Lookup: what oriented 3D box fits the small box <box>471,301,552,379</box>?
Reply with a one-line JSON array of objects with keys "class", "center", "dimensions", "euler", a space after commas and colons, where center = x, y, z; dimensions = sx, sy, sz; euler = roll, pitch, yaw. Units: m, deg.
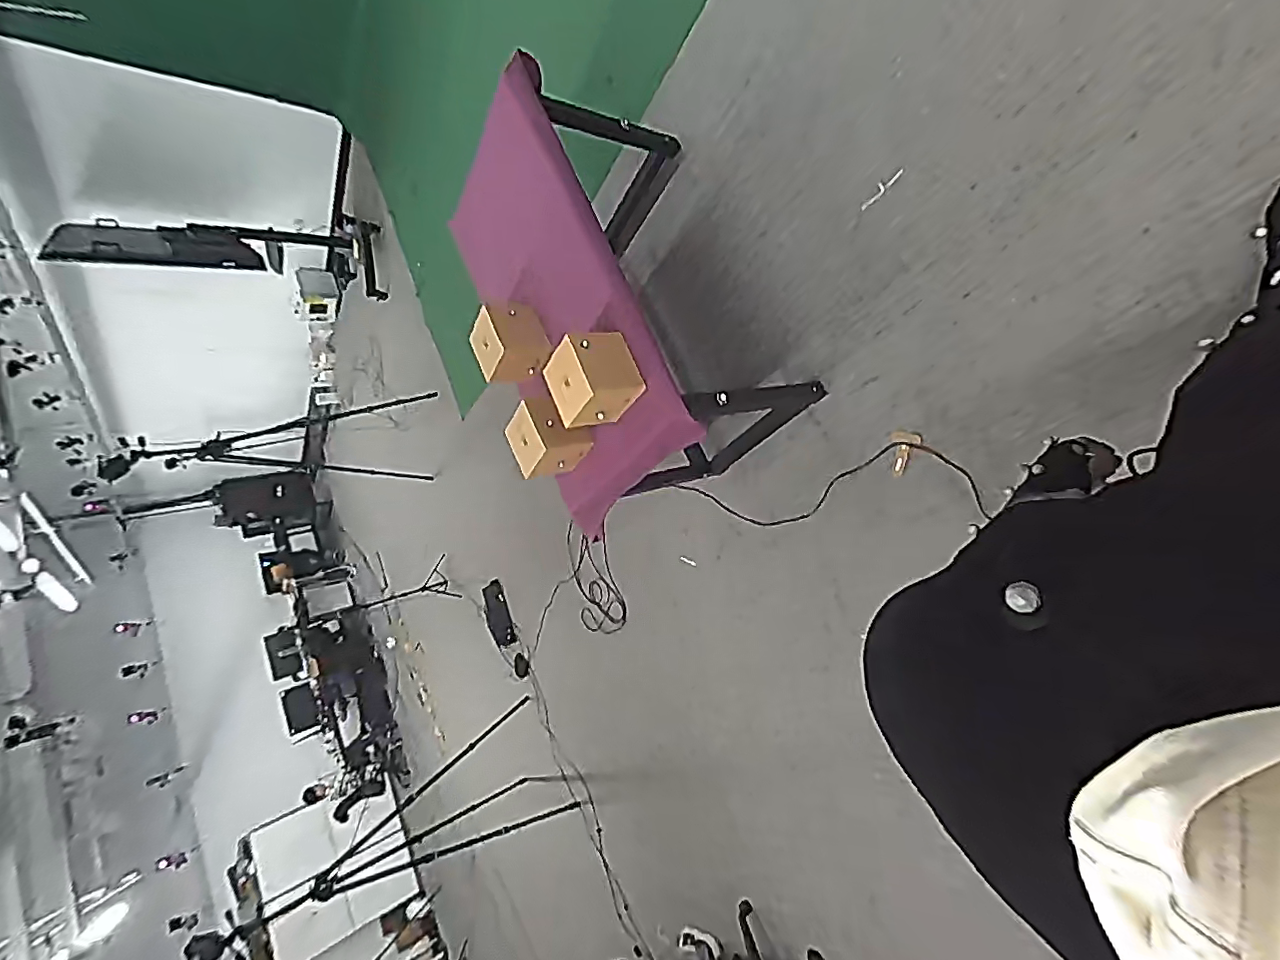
[{"class": "small box", "center": [-0.401, -0.433, 1.688], "dimensions": [0.168, 0.176, 0.179], "euler": [-43, 68, 47]}]

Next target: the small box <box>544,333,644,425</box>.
[{"class": "small box", "center": [-0.116, -0.263, 1.388], "dimensions": [0.168, 0.176, 0.179], "euler": [-41, 68, 49]}]

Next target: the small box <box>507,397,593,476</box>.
[{"class": "small box", "center": [-0.265, -0.136, 1.602], "dimensions": [0.168, 0.176, 0.179], "euler": [-44, 66, 46]}]
